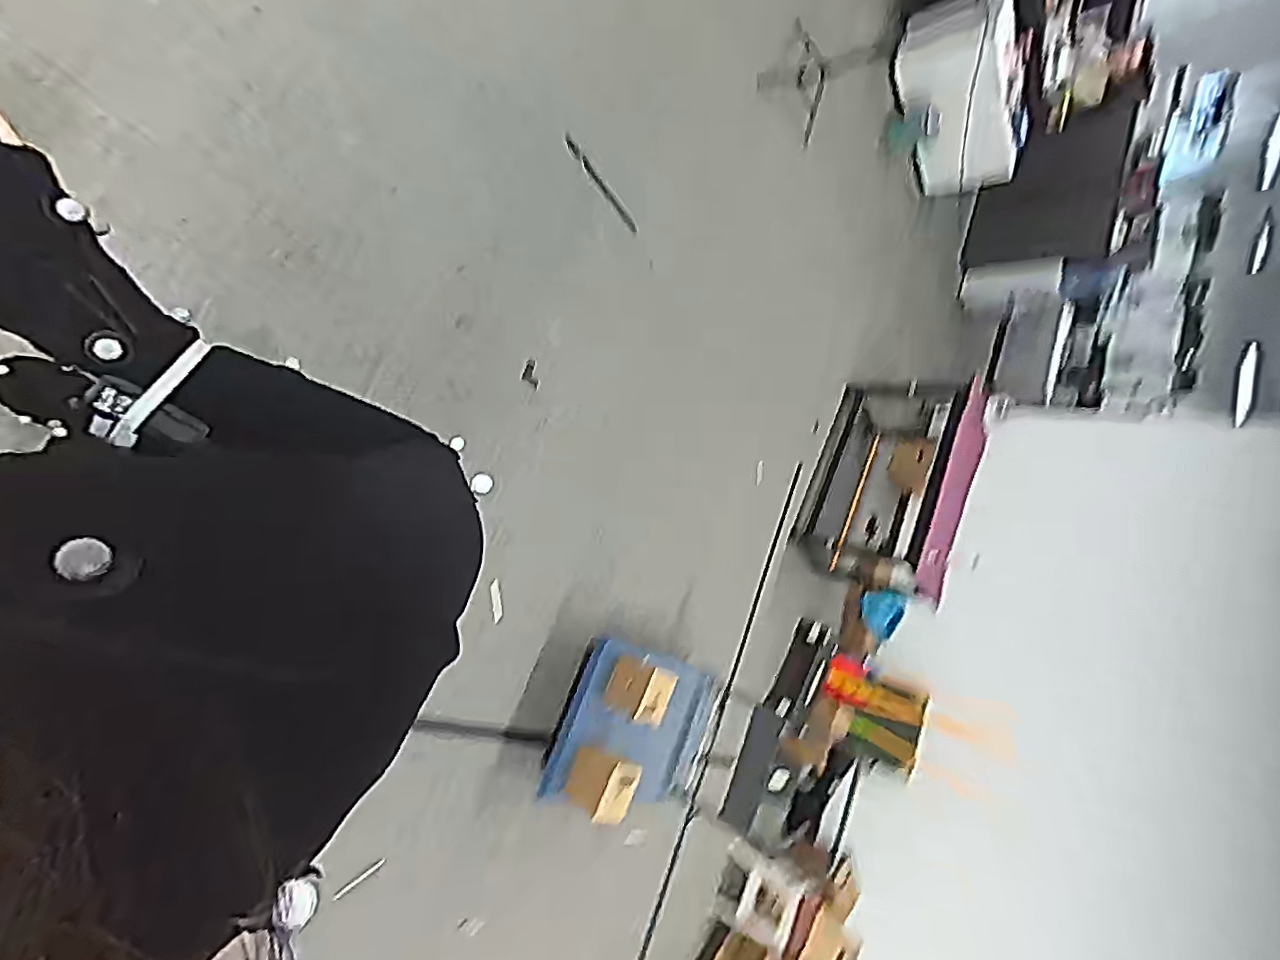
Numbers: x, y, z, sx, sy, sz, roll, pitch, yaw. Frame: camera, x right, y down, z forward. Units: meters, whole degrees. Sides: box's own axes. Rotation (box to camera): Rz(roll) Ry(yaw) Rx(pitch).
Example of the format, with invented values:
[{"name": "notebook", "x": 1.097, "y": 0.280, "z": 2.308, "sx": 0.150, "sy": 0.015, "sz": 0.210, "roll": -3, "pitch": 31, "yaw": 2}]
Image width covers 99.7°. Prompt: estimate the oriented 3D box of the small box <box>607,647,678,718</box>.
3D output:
[{"name": "small box", "x": 0.004, "y": 0.740, "z": 1.980, "sx": 0.168, "sy": 0.176, "sz": 0.179, "roll": 41, "pitch": 67, "yaw": -44}]
